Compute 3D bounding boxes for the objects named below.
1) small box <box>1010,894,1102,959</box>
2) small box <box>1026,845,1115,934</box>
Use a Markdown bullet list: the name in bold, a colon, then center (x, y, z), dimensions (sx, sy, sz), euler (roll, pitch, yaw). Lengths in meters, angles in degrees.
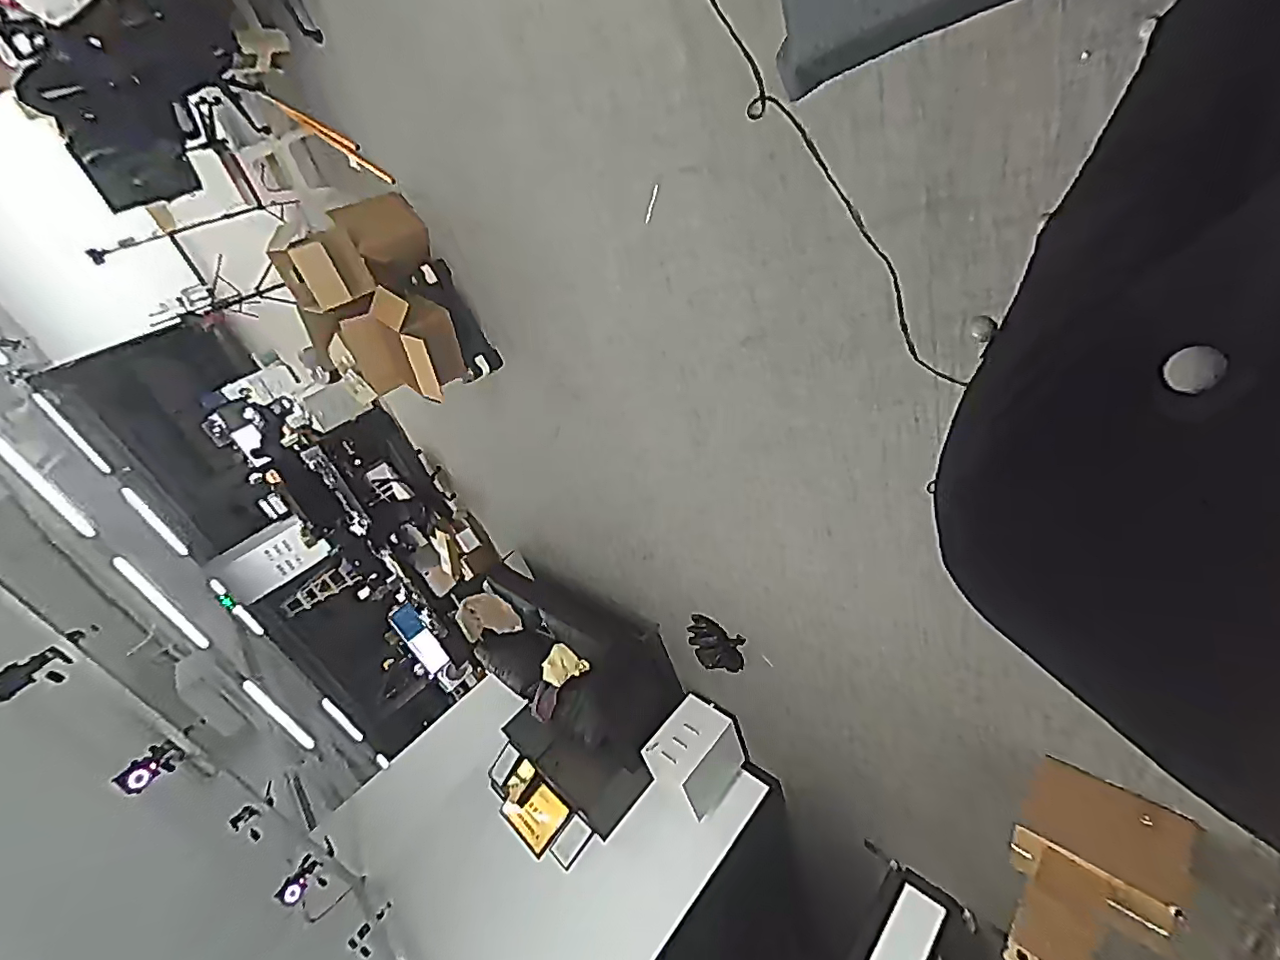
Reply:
- **small box**: center (1.270, 1.419, 1.654), dimensions (0.179, 0.176, 0.168), euler (18, 136, 41)
- **small box**: center (1.381, 1.328, 1.734), dimensions (0.179, 0.176, 0.168), euler (22, 138, 42)
